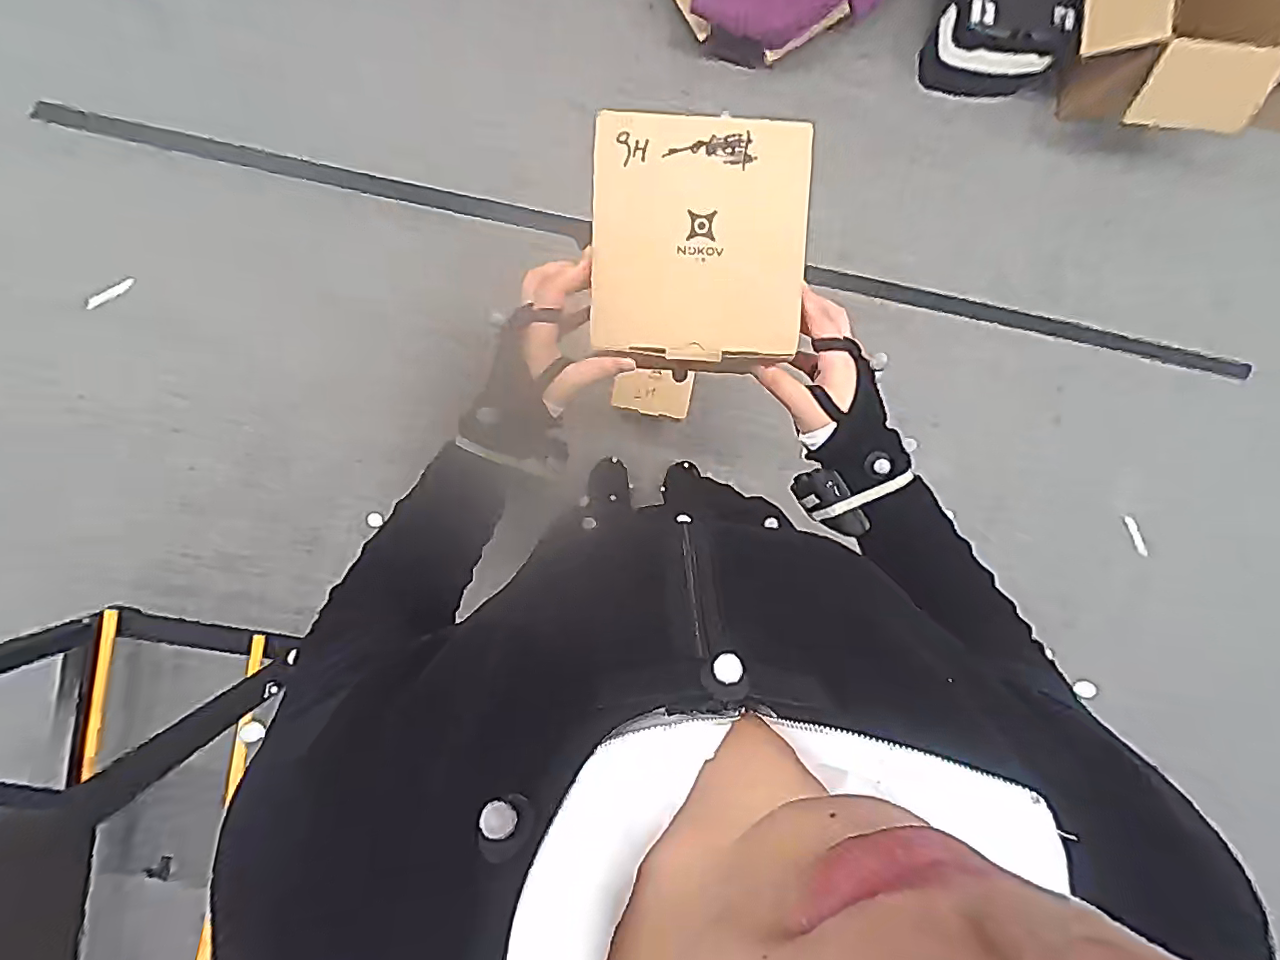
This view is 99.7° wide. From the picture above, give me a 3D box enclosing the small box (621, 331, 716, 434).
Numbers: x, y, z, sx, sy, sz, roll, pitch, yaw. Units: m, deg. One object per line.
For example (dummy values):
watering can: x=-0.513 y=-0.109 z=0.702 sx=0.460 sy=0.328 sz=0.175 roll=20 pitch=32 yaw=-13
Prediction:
small box: x=0.053 y=-0.201 z=1.155 sx=0.168 sy=0.176 sz=0.179 roll=11 pitch=93 yaw=-2
